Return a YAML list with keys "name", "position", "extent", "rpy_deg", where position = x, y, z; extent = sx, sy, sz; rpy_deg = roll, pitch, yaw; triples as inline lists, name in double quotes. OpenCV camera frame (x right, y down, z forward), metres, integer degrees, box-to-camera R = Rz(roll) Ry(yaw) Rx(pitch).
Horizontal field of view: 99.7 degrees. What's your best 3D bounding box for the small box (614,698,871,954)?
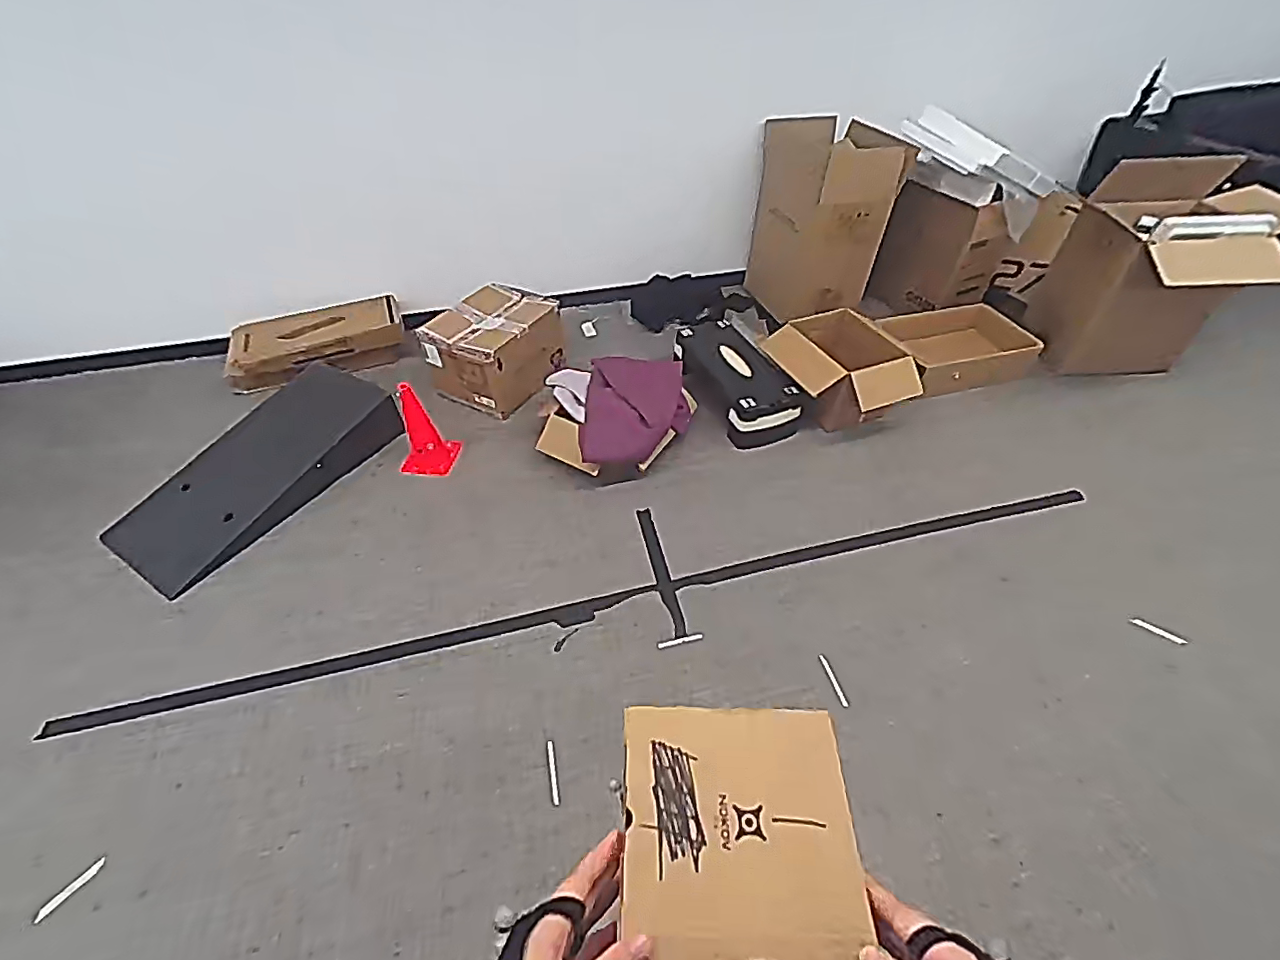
- name: "small box"
  position: [0.069, 0.303, 0.473]
  extent: [0.179, 0.176, 0.168]
  rpy_deg: [1, 50, -1]
